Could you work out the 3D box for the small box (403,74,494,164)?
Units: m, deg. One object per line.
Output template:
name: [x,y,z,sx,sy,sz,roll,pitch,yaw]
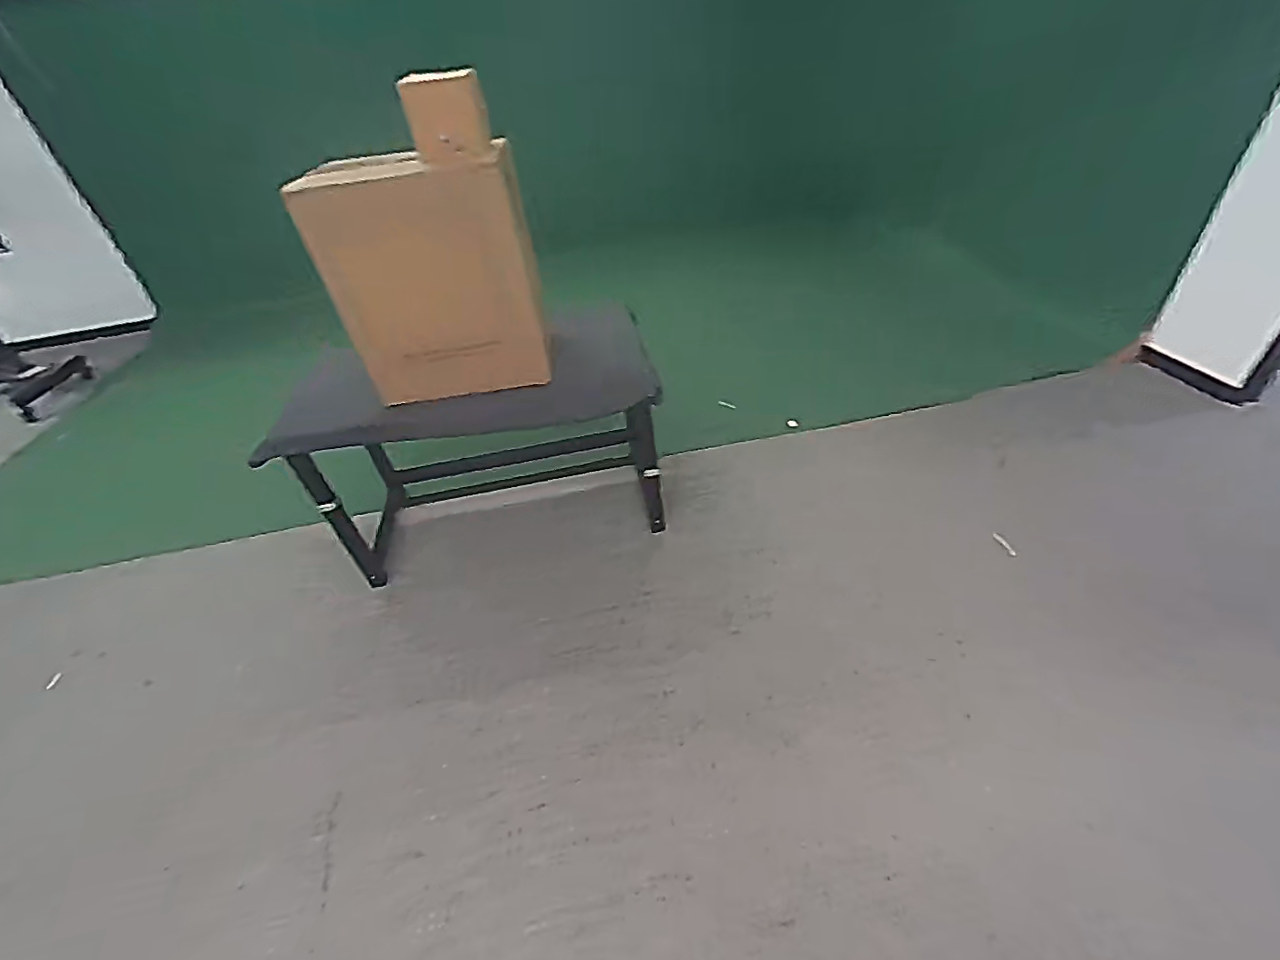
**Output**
small box: [-0.479,-0.924,1.385,0.168,0.176,0.179,-7,42,-1]
